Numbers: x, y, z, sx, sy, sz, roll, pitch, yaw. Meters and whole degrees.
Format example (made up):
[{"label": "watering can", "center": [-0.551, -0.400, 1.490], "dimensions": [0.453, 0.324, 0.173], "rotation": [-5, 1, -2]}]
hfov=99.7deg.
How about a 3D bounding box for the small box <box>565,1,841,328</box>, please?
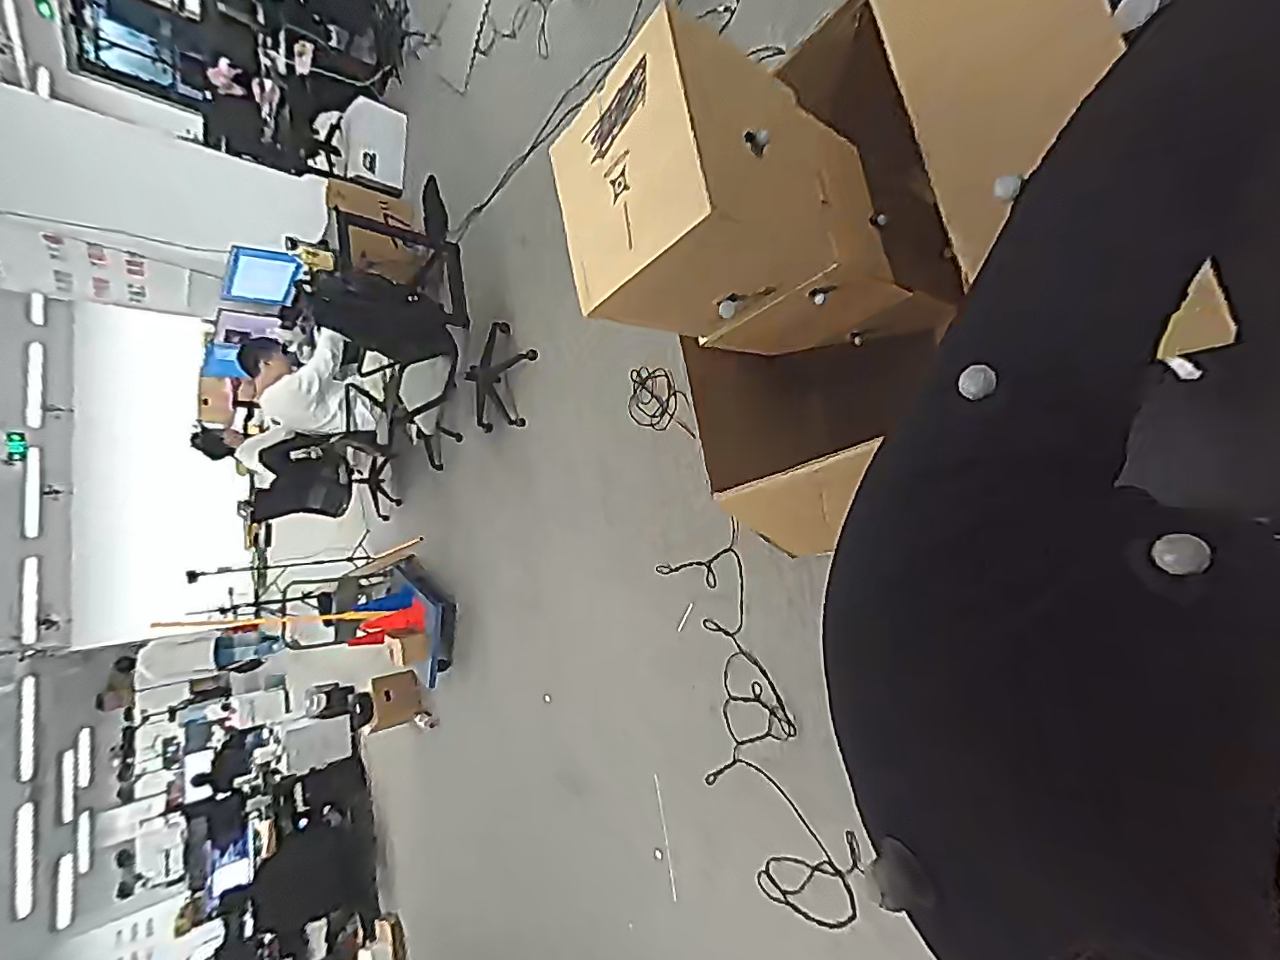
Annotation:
[{"label": "small box", "center": [0.056, -0.259, 0.498], "dimensions": [0.168, 0.176, 0.179], "rotation": [-19, 80, 49]}]
